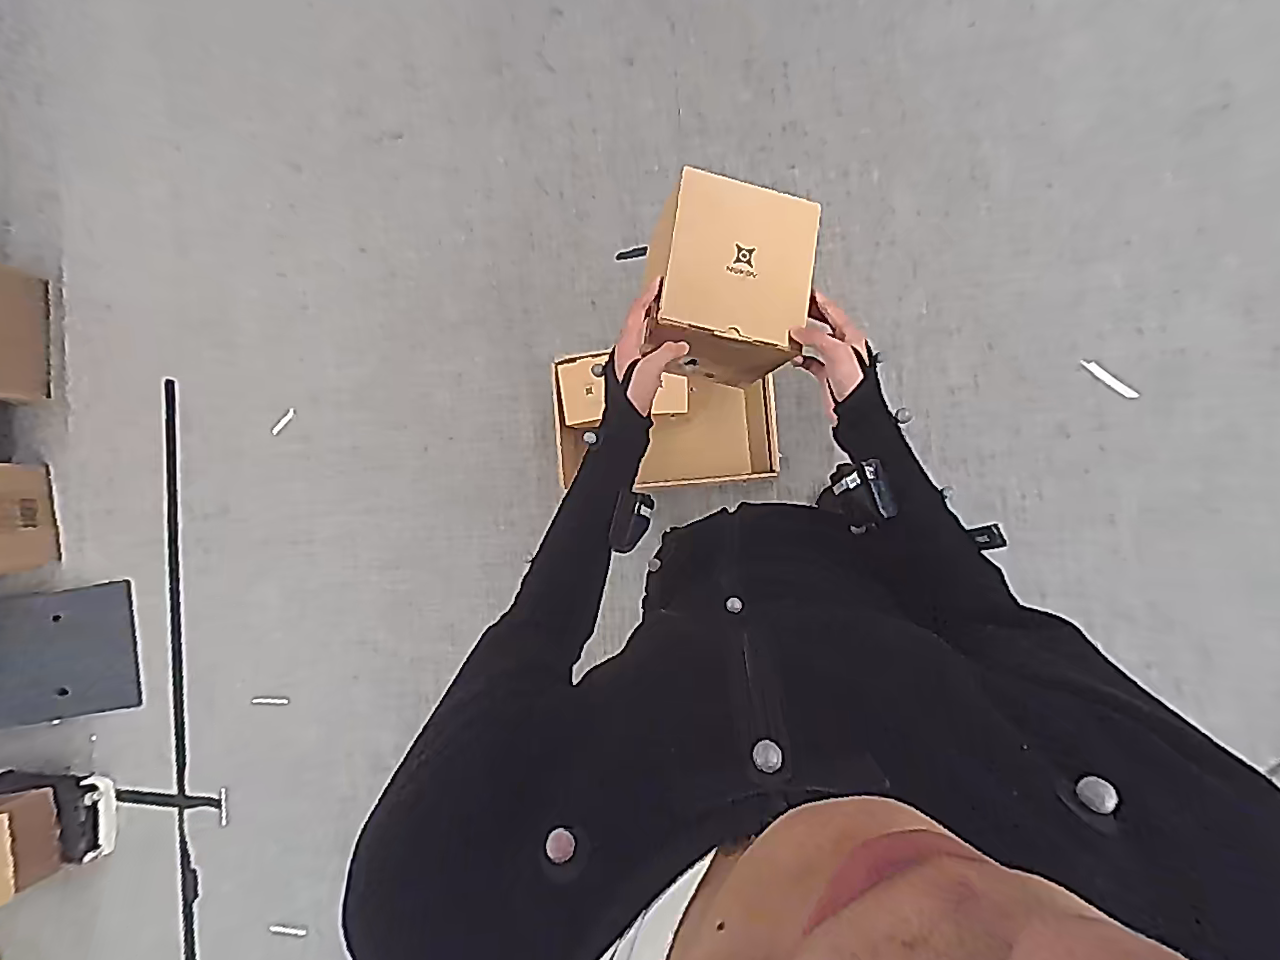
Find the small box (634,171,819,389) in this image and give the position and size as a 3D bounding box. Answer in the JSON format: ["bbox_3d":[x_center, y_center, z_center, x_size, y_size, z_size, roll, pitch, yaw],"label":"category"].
[{"bbox_3d":[0.094,-0.227,0.659,0.168,0.176,0.179,9,84,-11],"label":"small box"}]
